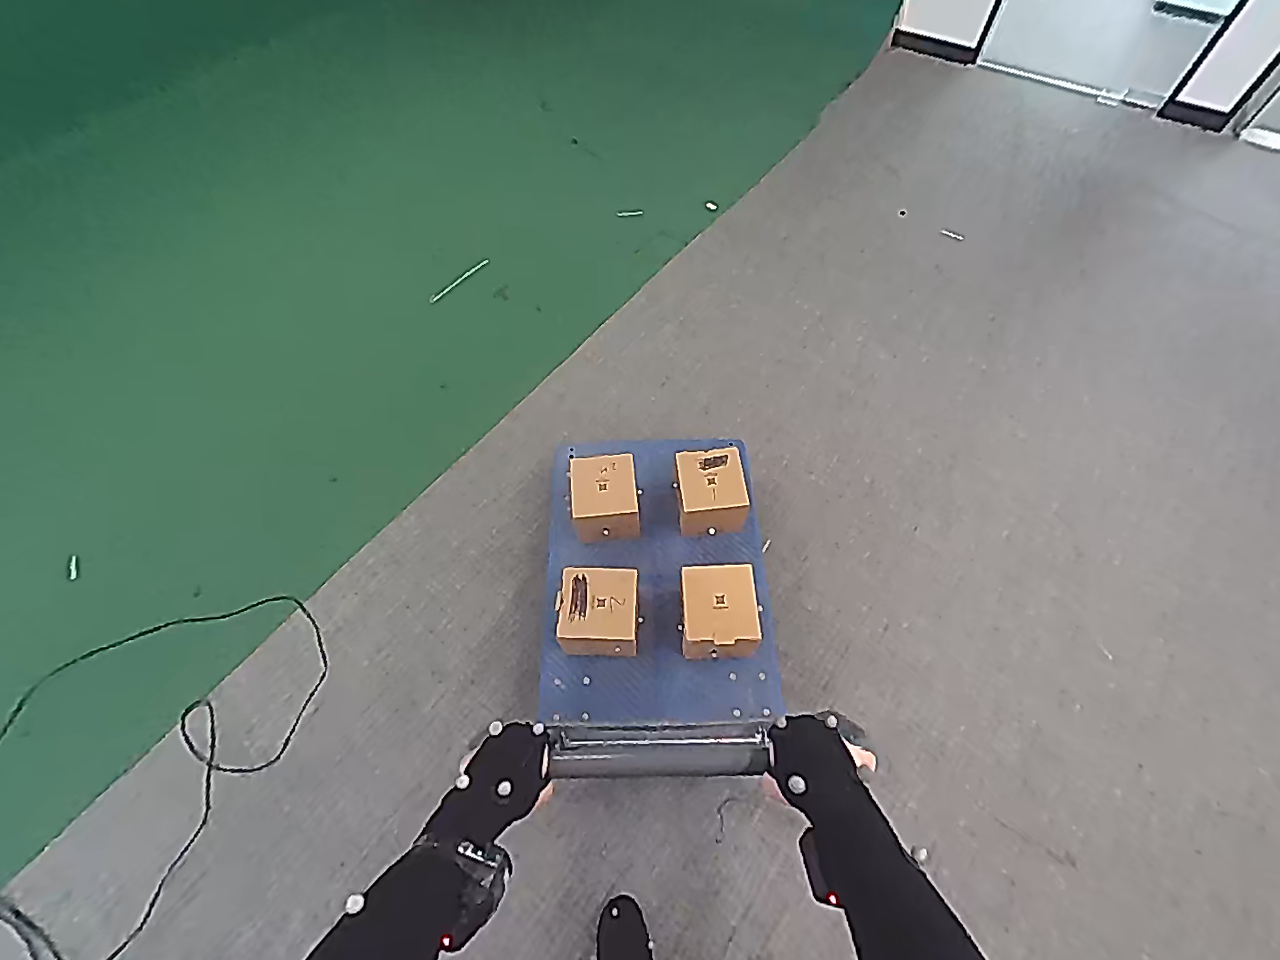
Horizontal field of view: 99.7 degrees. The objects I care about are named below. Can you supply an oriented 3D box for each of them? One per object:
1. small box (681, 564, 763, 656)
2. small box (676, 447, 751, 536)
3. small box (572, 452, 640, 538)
[{"bbox_3d":[0.186,0.311,1.285,0.168,0.176,0.179,-2,61,1],"label":"small box"},{"bbox_3d":[0.188,0.033,1.439,0.168,0.176,0.179,-6,61,-1],"label":"small box"},{"bbox_3d":[-0.088,0.048,1.439,0.168,0.176,0.179,-5,61,-2],"label":"small box"}]
